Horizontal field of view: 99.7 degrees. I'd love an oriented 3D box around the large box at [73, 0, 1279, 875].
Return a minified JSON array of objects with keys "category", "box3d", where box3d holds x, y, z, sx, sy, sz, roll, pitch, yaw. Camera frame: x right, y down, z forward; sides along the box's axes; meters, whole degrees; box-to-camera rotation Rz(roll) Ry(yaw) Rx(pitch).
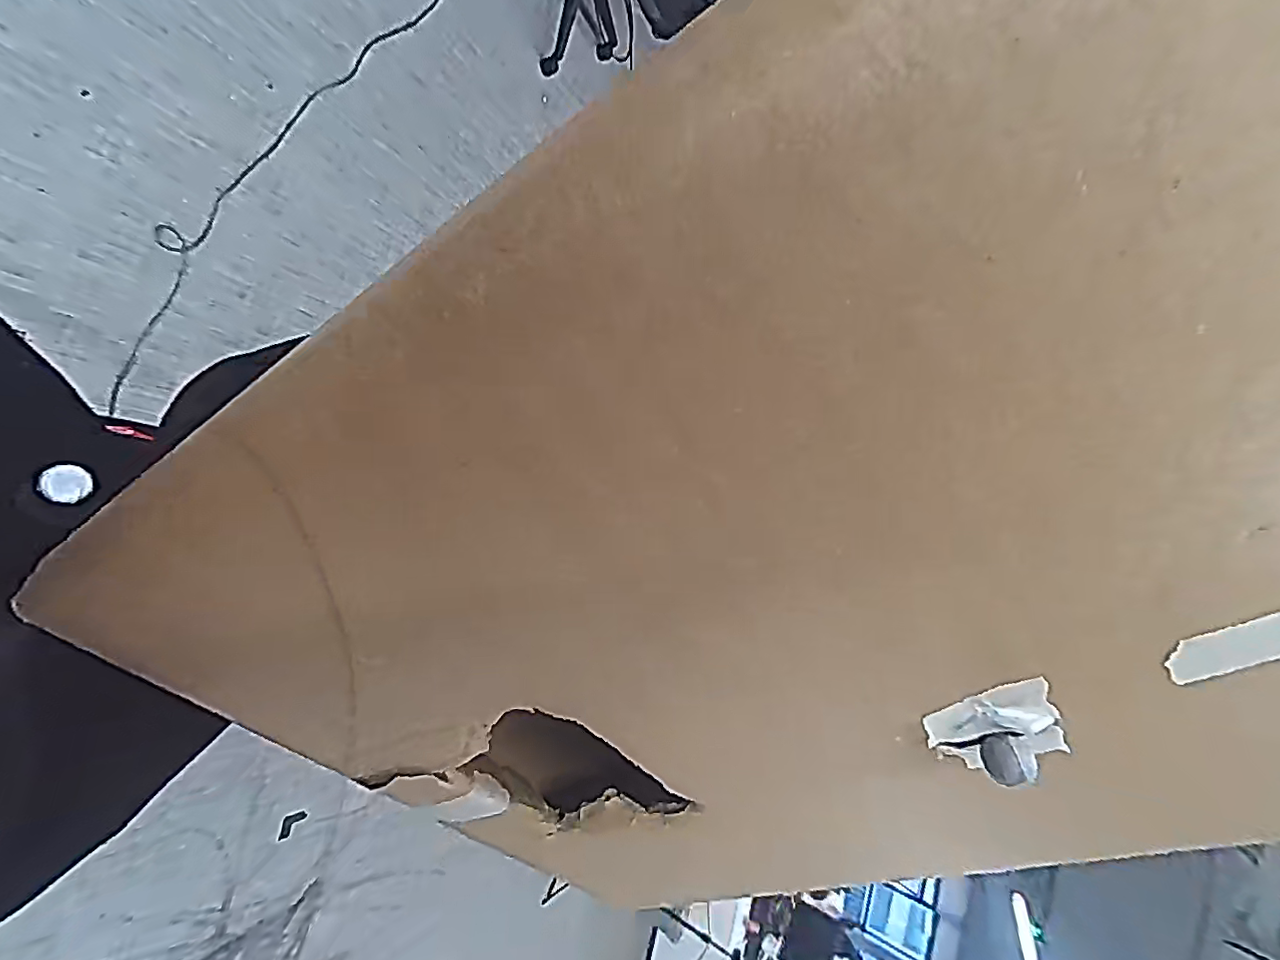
[{"category":"large box","box3d":[0.043,-0.050,0.333,0.320,0.320,0.408,52,26,-31]}]
